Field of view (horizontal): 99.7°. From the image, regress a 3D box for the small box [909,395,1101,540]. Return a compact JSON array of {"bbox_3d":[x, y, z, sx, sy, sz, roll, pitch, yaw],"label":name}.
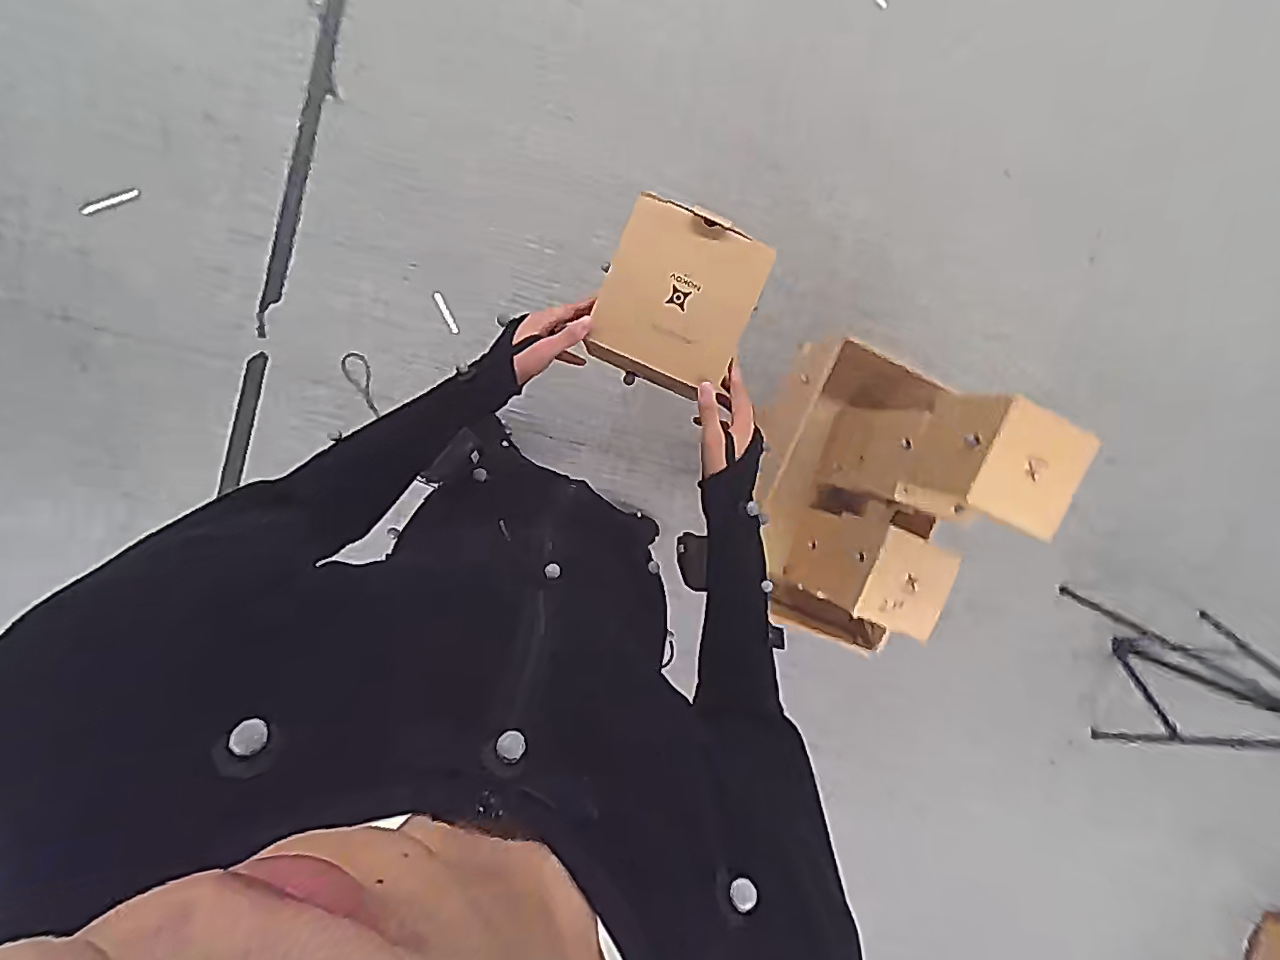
[{"bbox_3d":[0.583,-0.026,0.891,0.168,0.176,0.179,23,94,-10],"label":"small box"}]
